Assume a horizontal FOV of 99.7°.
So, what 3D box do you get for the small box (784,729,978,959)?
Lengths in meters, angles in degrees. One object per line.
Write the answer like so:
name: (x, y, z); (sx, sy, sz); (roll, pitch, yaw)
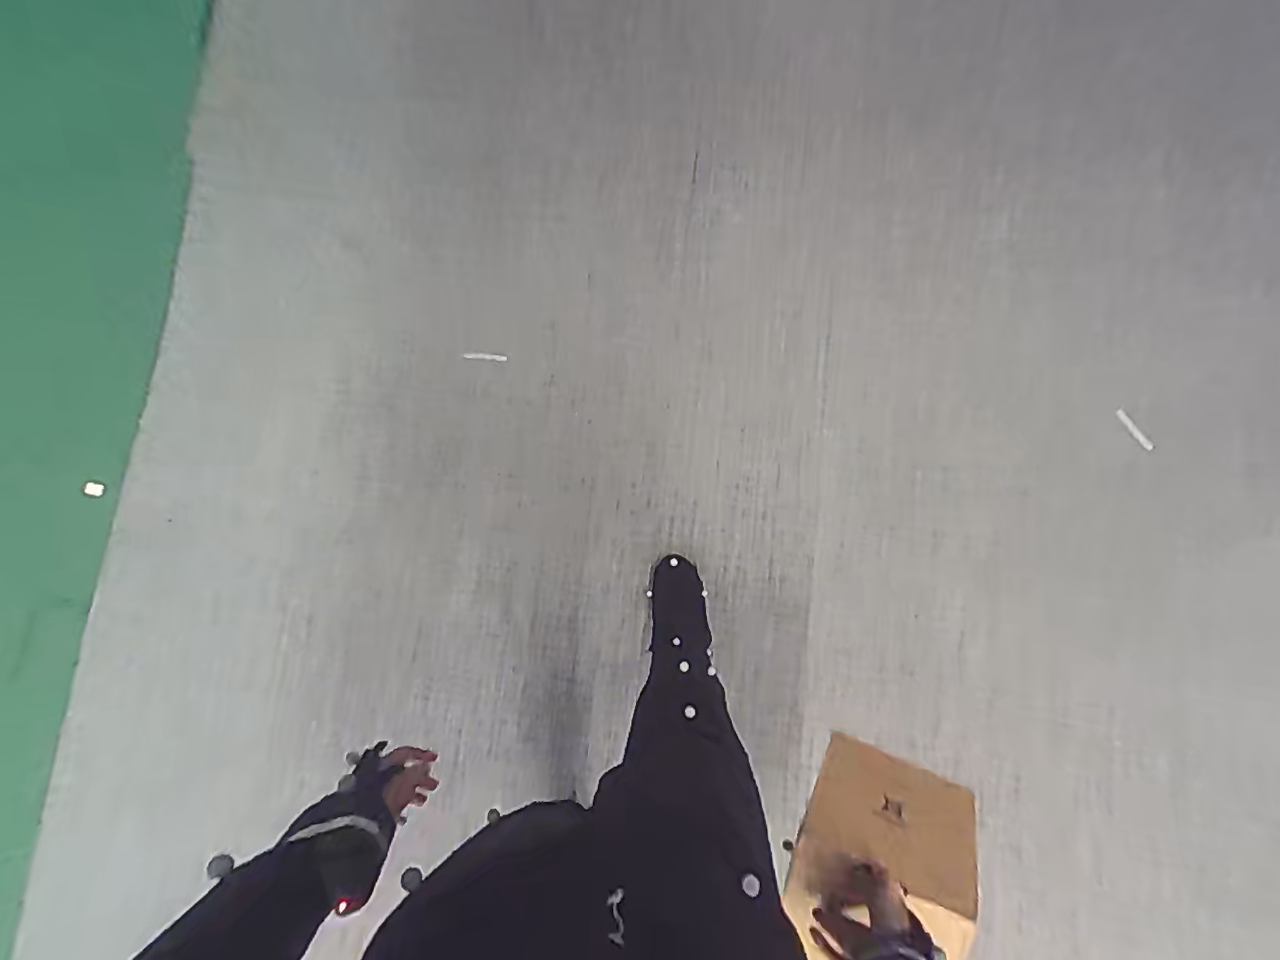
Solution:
small box: (0.272, 0.435, 0.616); (0.168, 0.179, 0.176); (14, 109, 28)
